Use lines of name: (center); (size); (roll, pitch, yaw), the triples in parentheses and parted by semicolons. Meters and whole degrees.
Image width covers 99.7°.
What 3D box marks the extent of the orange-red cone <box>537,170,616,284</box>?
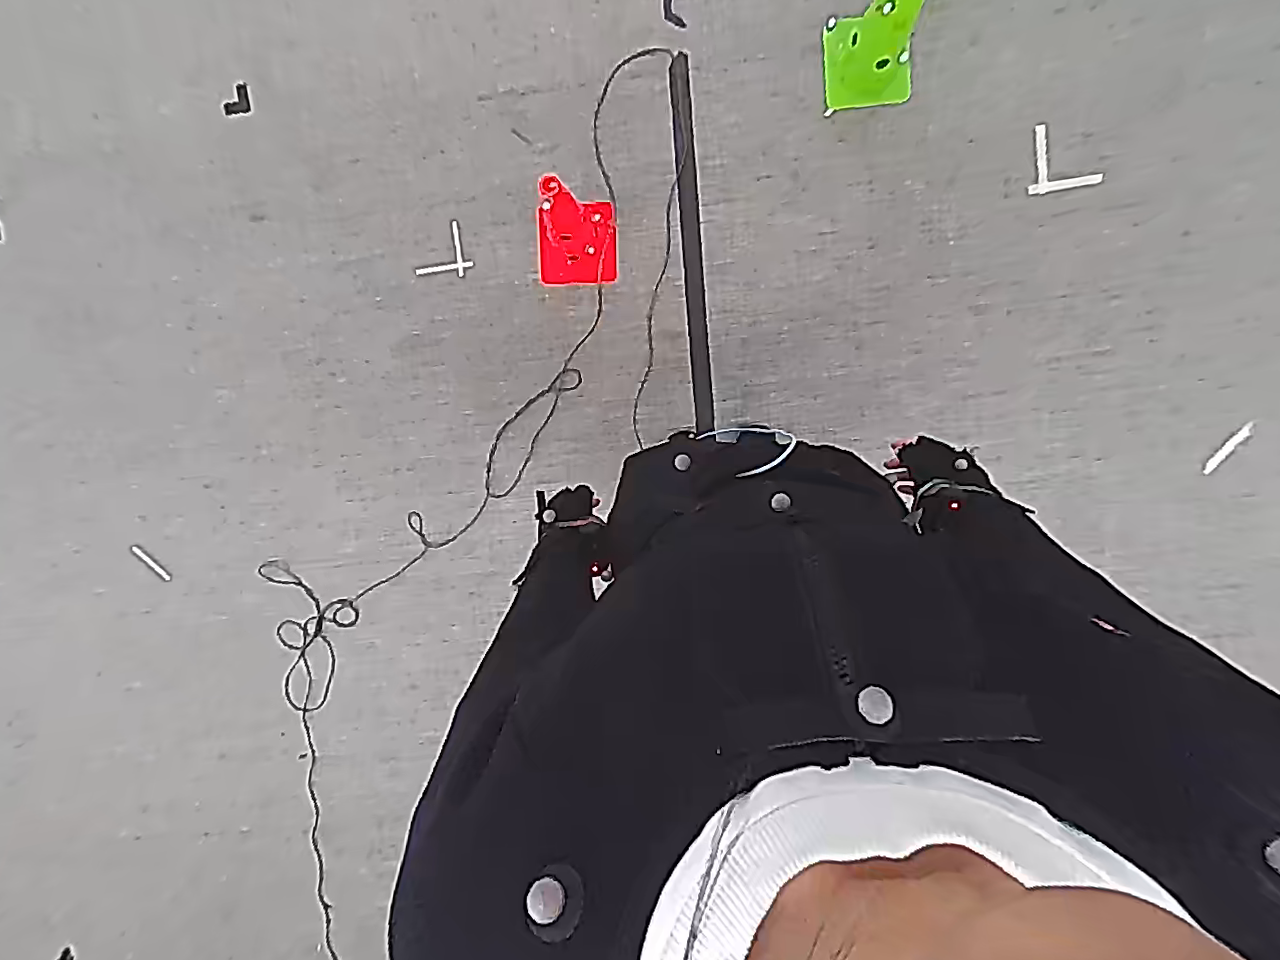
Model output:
orange-red cone: (-0.170, -0.585, 1.202); (0.199, 0.360, 0.198); (0, 95, 4)

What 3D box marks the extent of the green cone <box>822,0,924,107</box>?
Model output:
green cone: (0.535, -0.982, 1.120); (0.202, 0.368, 0.200); (-5, 96, 2)
